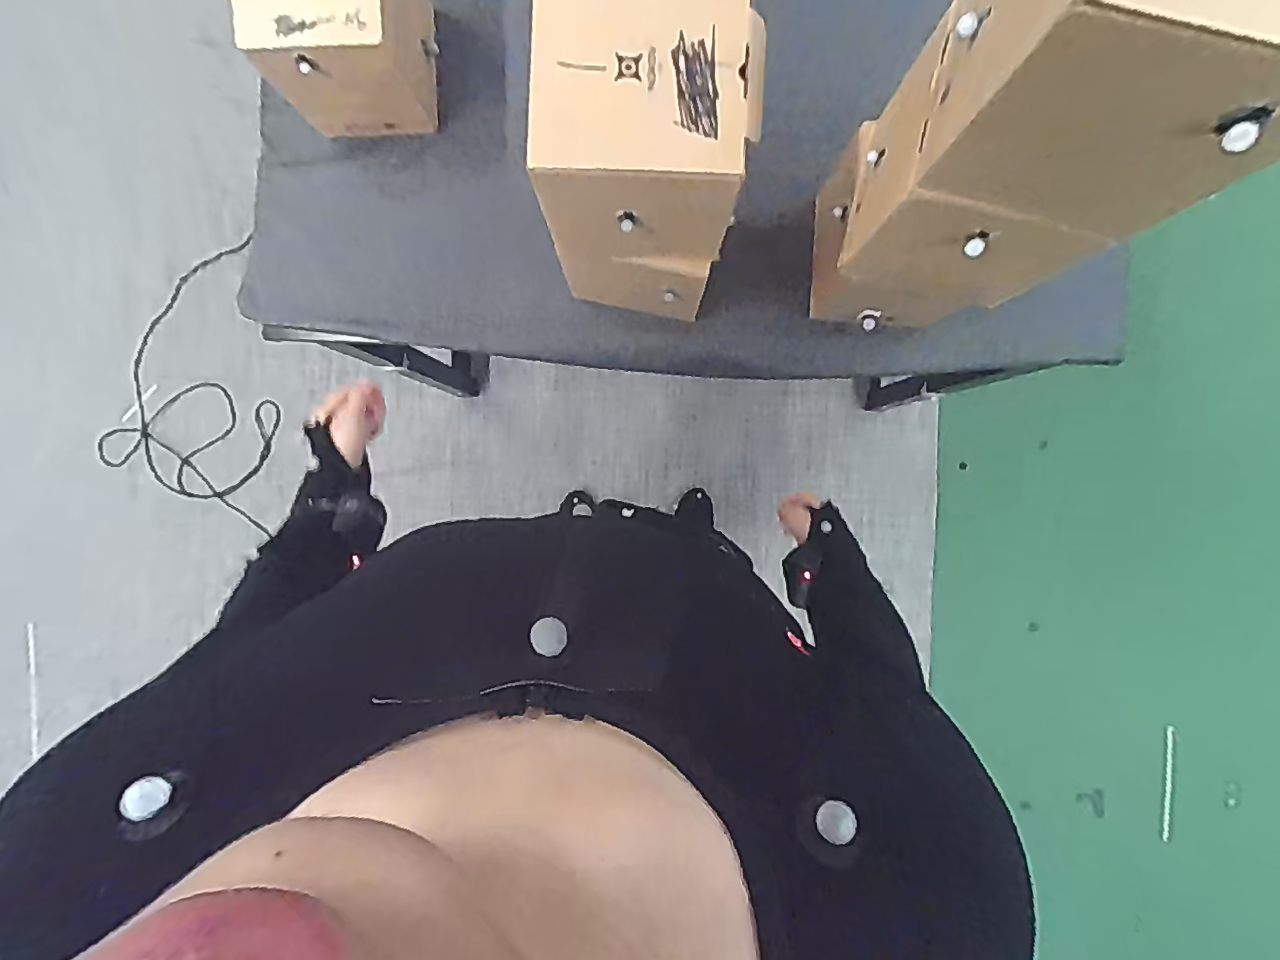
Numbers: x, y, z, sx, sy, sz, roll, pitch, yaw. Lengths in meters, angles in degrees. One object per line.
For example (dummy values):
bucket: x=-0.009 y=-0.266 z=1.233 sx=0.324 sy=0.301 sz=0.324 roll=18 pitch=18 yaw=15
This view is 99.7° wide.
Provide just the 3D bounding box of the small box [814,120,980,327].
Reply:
small box: x=0.322 y=-0.303 z=0.667 sx=0.168 sy=0.176 sz=0.179 roll=3 pitch=91 yaw=2

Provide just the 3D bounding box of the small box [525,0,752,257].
small box: x=0.000 y=-0.324 z=0.508 sx=0.179 sy=0.176 sz=0.168 roll=2 pitch=90 yaw=1

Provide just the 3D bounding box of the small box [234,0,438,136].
small box: x=-0.365 y=-0.568 z=0.674 sx=0.168 sy=0.176 sz=0.179 roll=-2 pitch=92 yaw=1

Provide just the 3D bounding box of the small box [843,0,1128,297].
small box: x=0.317 y=-0.287 z=0.505 sx=0.179 sy=0.176 sz=0.168 roll=14 pitch=90 yaw=2

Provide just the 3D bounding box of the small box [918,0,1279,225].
small box: x=0.316 y=-0.289 z=0.340 sx=0.179 sy=0.176 sz=0.168 roll=15 pitch=90 yaw=2
